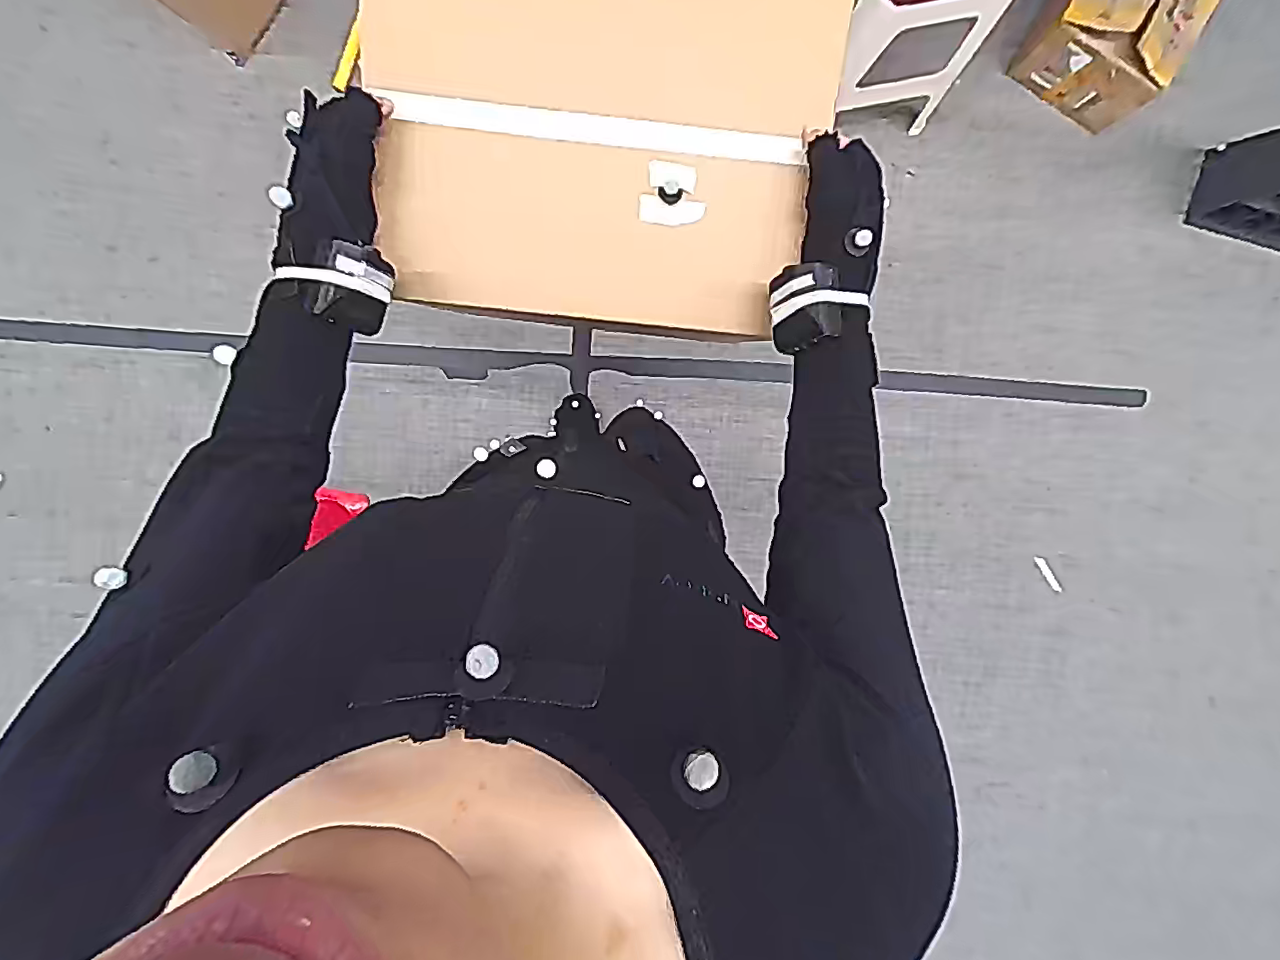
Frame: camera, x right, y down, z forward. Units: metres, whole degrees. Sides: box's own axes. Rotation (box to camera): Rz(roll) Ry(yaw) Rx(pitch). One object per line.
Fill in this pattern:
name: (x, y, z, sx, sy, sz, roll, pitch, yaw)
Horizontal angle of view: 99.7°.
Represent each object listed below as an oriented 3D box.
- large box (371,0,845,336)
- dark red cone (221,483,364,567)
large box: (-0.040, -0.344, 0.621, 0.408, 0.320, 0.320, 5, 103, -3)
dark red cone: (-0.815, 0.133, 1.244, 0.201, 0.394, 0.202, 9, 96, -5)
